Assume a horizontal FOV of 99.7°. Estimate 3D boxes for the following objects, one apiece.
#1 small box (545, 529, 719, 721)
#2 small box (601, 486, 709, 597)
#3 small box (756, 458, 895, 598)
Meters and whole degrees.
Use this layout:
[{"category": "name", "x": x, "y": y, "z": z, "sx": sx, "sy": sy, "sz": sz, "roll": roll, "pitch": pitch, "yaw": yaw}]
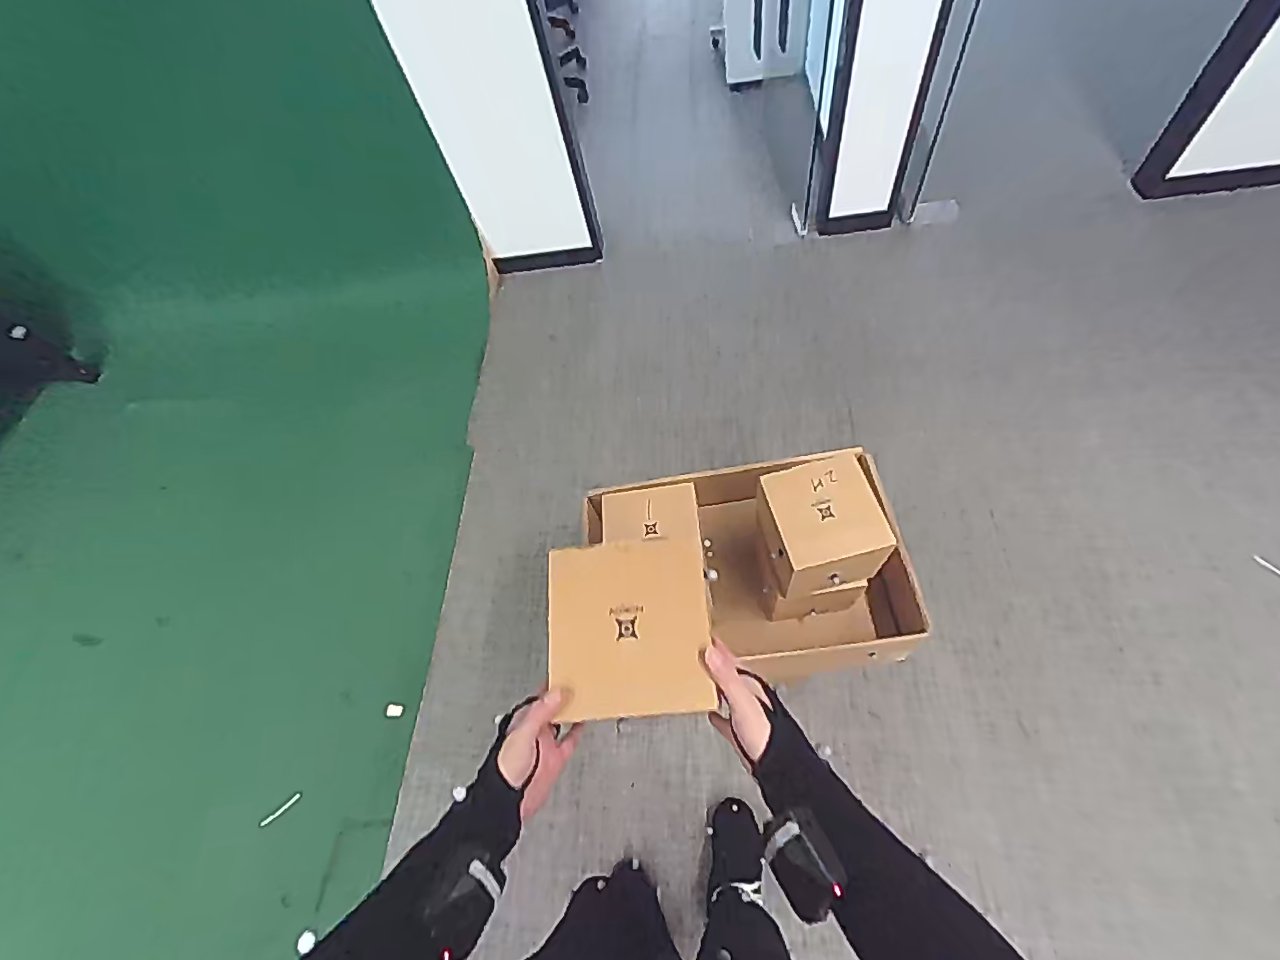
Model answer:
[{"category": "small box", "x": -0.003, "y": 0.170, "z": 0.611, "sx": 0.168, "sy": 0.176, "sz": 0.179, "roll": -7, "pitch": 65, "yaw": 6}, {"category": "small box", "x": 0.029, "y": 0.133, "z": 0.956, "sx": 0.168, "sy": 0.176, "sz": 0.179, "roll": -7, "pitch": 59, "yaw": 7}, {"category": "small box", "x": 0.306, "y": 0.092, "z": 0.930, "sx": 0.168, "sy": 0.176, "sz": 0.179, "roll": -14, "pitch": 60, "yaw": 1}]
